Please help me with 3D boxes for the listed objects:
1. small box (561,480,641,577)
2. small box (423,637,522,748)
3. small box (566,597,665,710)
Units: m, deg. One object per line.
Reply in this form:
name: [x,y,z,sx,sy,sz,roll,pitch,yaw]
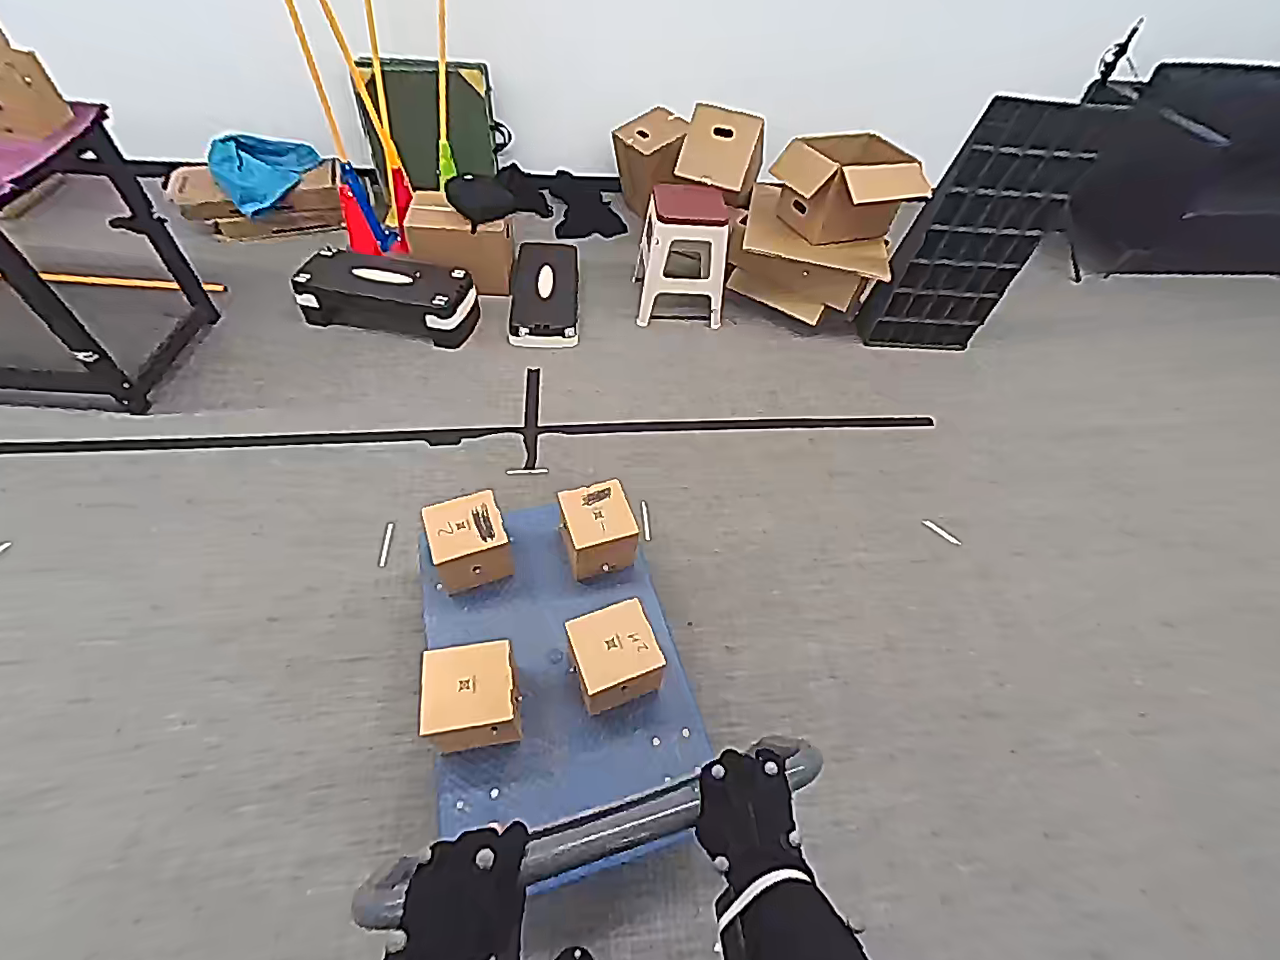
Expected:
small box: [-0.109,0.129,1.427,0.168,0.176,0.179,-13,56,-16]
small box: [-0.350,0.456,1.154,0.179,0.176,0.168,-5,53,-11]
small box: [-0.058,0.397,1.227,0.179,0.176,0.168,-16,56,-16]
